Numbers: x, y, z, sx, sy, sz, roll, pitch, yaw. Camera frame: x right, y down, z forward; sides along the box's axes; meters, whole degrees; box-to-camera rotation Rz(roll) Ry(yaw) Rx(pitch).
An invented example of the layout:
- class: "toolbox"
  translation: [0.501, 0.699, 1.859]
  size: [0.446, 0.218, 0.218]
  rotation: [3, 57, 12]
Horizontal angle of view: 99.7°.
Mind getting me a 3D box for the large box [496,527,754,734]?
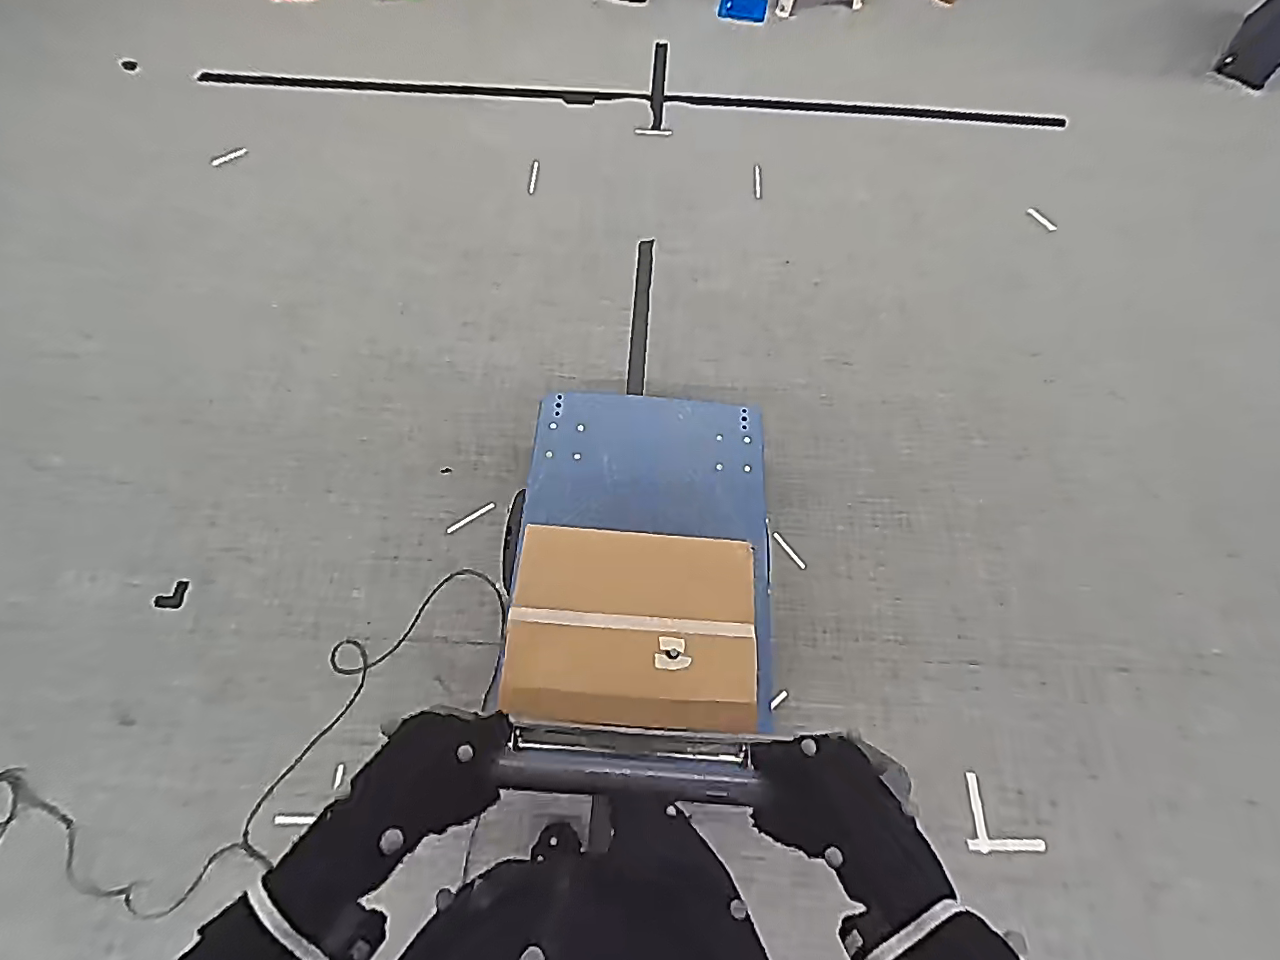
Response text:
- class: "large box"
  translation: [-0.023, 0.297, 1.018]
  size: [0.408, 0.320, 0.320]
  rotation: [5, 66, -1]
